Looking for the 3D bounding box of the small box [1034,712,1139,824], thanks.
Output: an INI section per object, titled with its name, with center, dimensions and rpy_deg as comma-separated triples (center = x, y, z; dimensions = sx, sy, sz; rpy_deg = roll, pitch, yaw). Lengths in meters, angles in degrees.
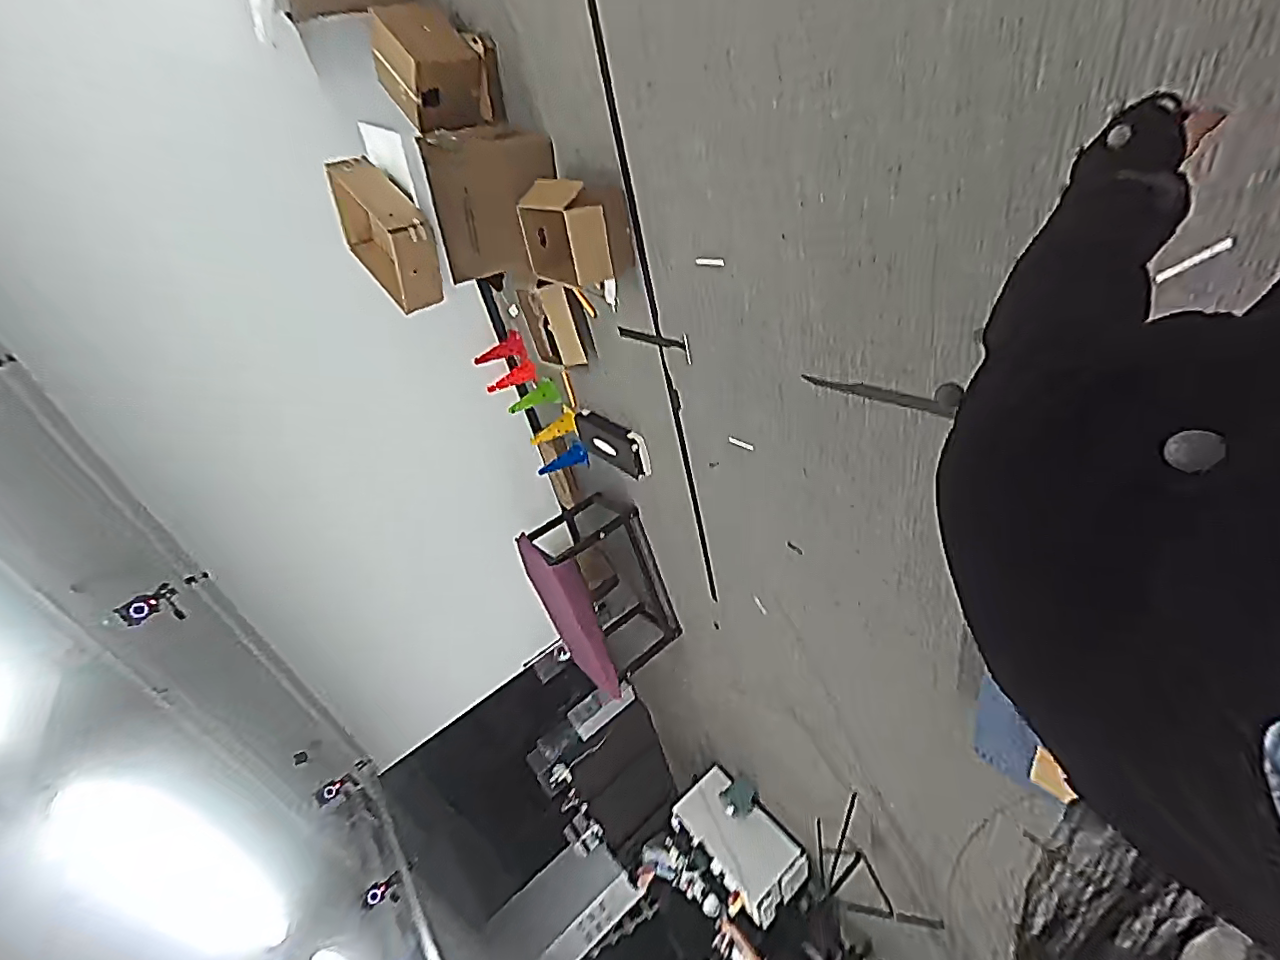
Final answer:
[small box]
center = 1.233, 0.790, 1.495
dimensions = 0.168, 0.176, 0.179
rpy_deg = 27, 141, 48
